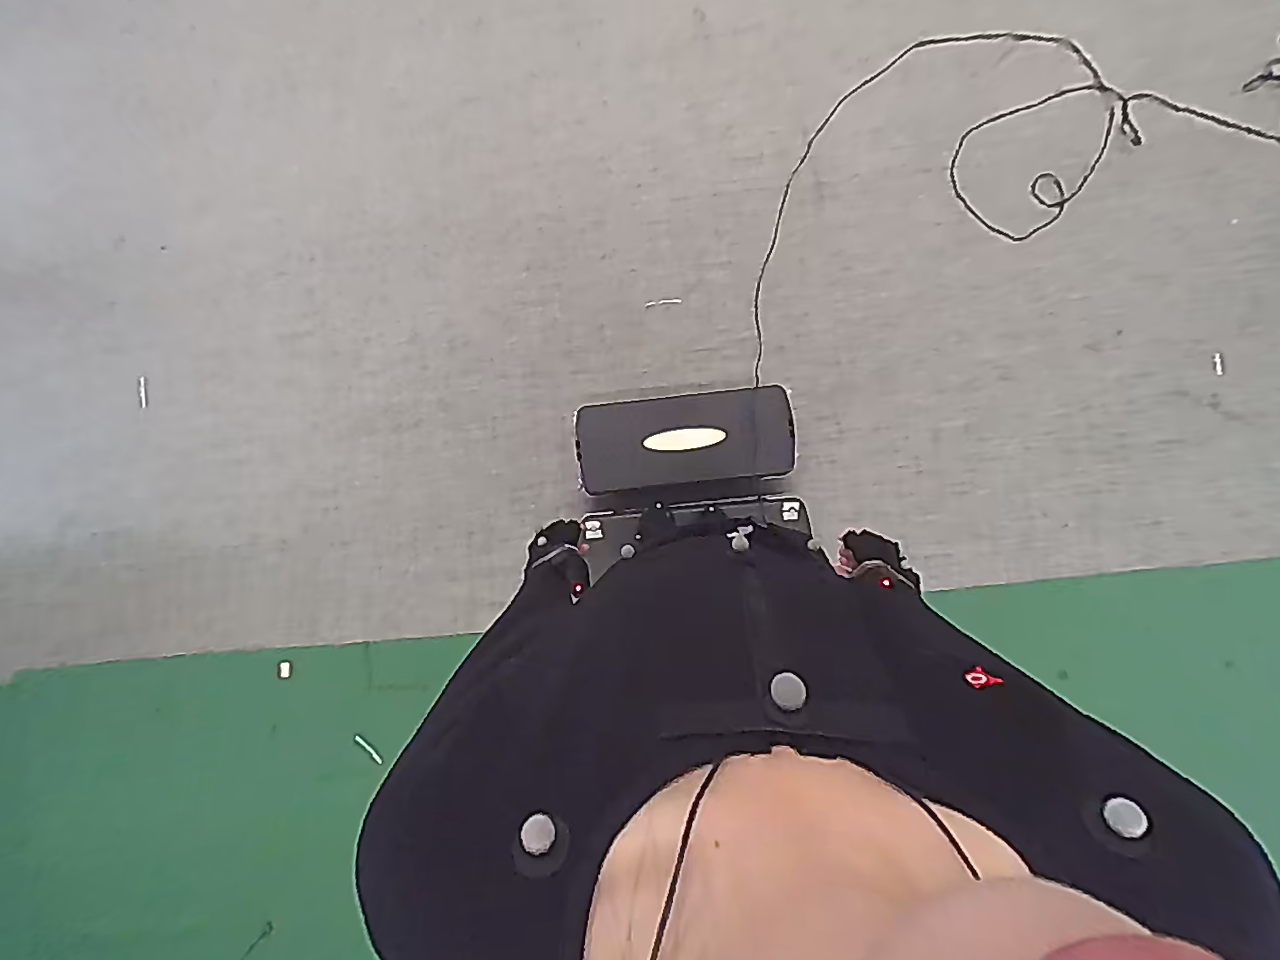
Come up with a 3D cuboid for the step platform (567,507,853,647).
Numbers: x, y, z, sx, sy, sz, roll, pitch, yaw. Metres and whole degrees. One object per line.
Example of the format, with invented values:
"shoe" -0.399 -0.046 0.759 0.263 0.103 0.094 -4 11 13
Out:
"step platform" 0.167 0.239 1.388 0.684 0.204 0.286 -6 86 1
